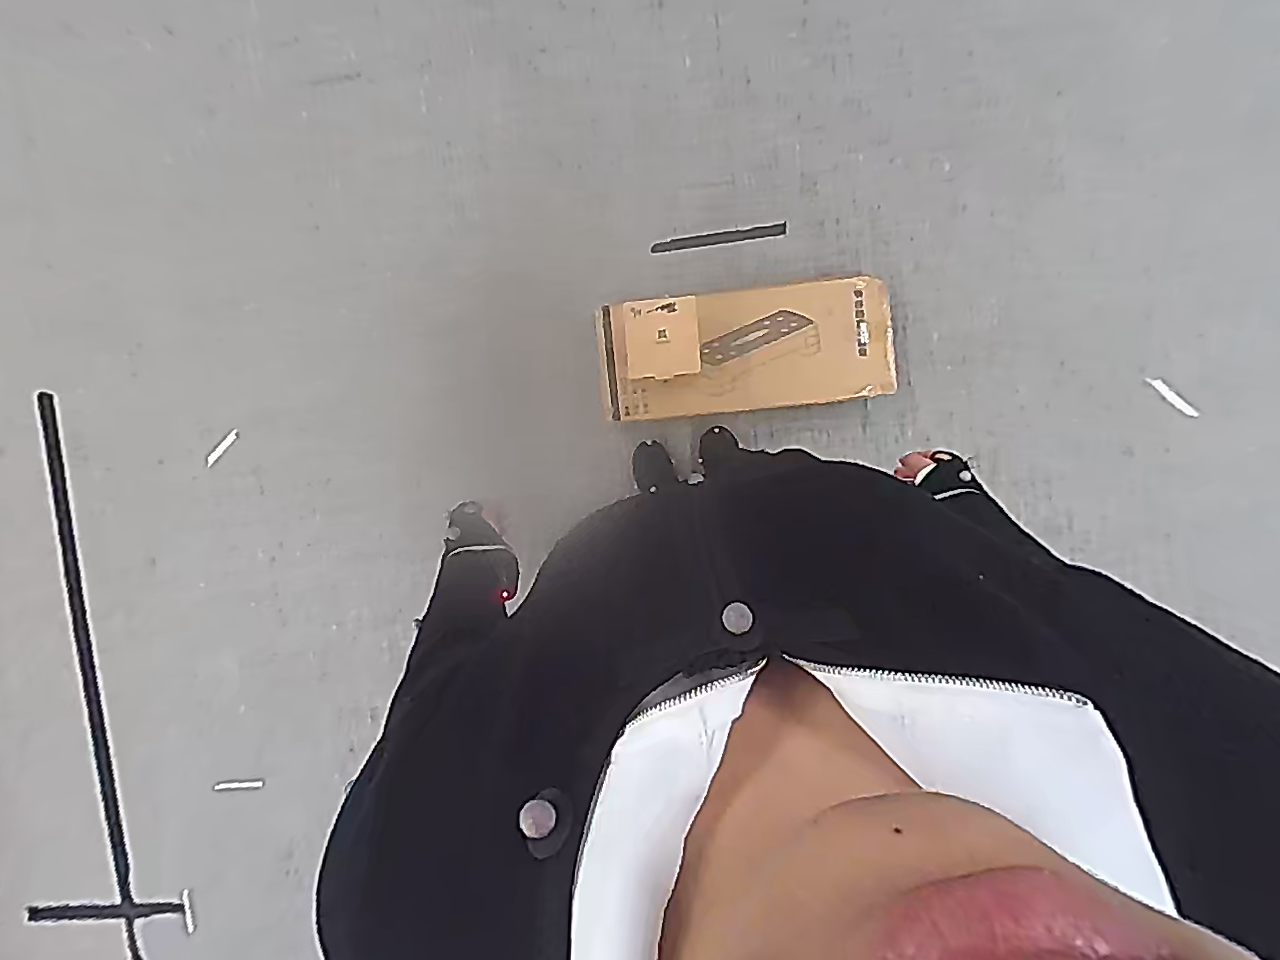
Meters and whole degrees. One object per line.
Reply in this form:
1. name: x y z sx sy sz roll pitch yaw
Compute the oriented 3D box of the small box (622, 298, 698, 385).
1. small box: 0.049 -0.322 1.294 0.168 0.176 0.179 -4 94 2
